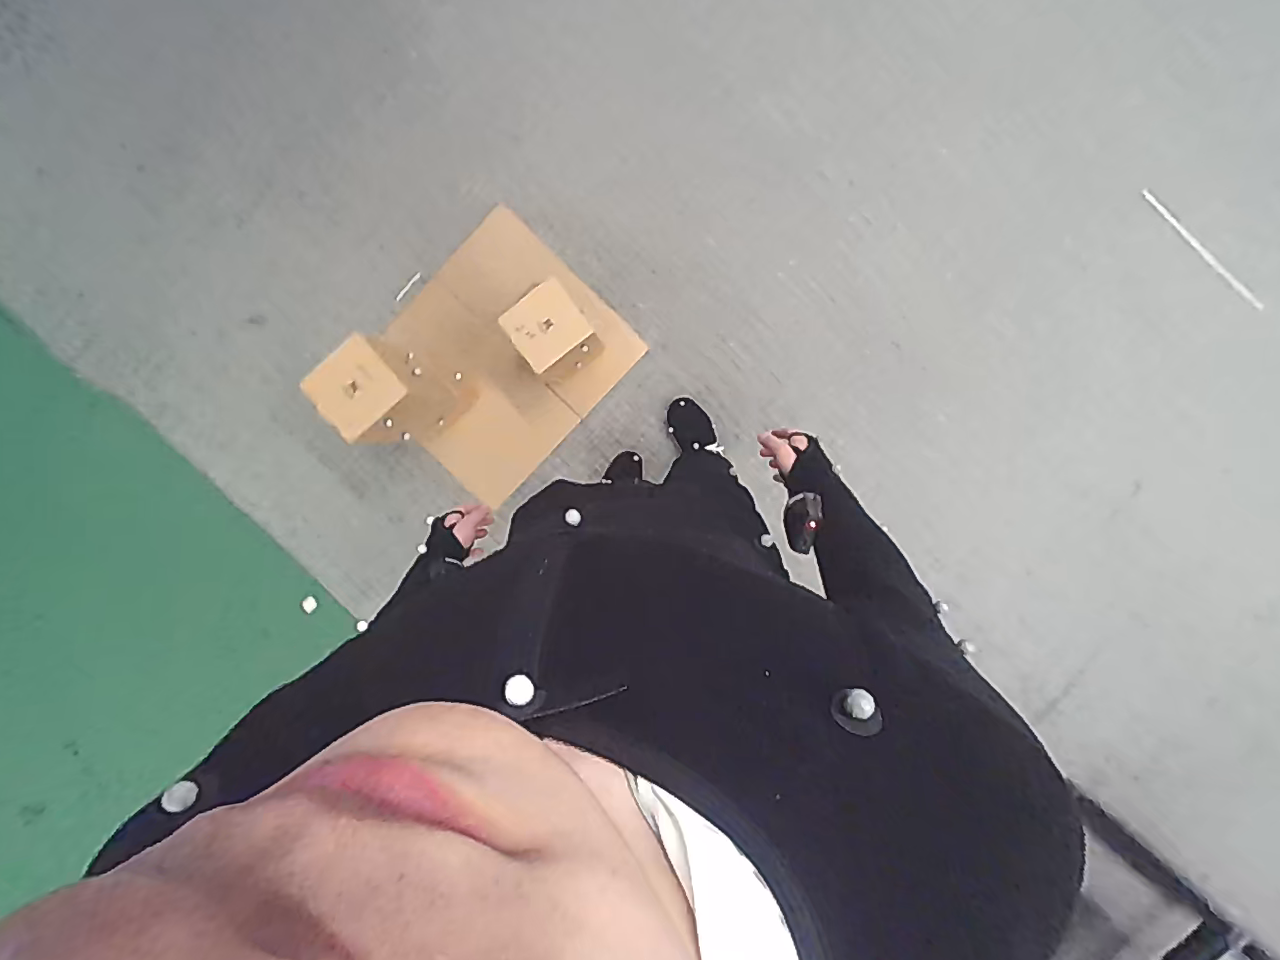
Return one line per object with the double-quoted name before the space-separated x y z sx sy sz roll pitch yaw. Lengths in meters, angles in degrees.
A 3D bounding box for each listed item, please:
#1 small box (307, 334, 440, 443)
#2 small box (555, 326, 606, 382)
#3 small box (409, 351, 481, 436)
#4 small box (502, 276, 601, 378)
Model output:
"small box" -0.594 -0.201 1.230 0.179 0.176 0.168 -39 93 5
"small box" -0.209 -0.396 1.525 0.179 0.176 0.168 -40 92 6
"small box" -0.593 -0.240 1.556 0.179 0.176 0.168 -42 92 5
"small box" -0.211 -0.375 1.361 0.179 0.176 0.168 -36 92 6
